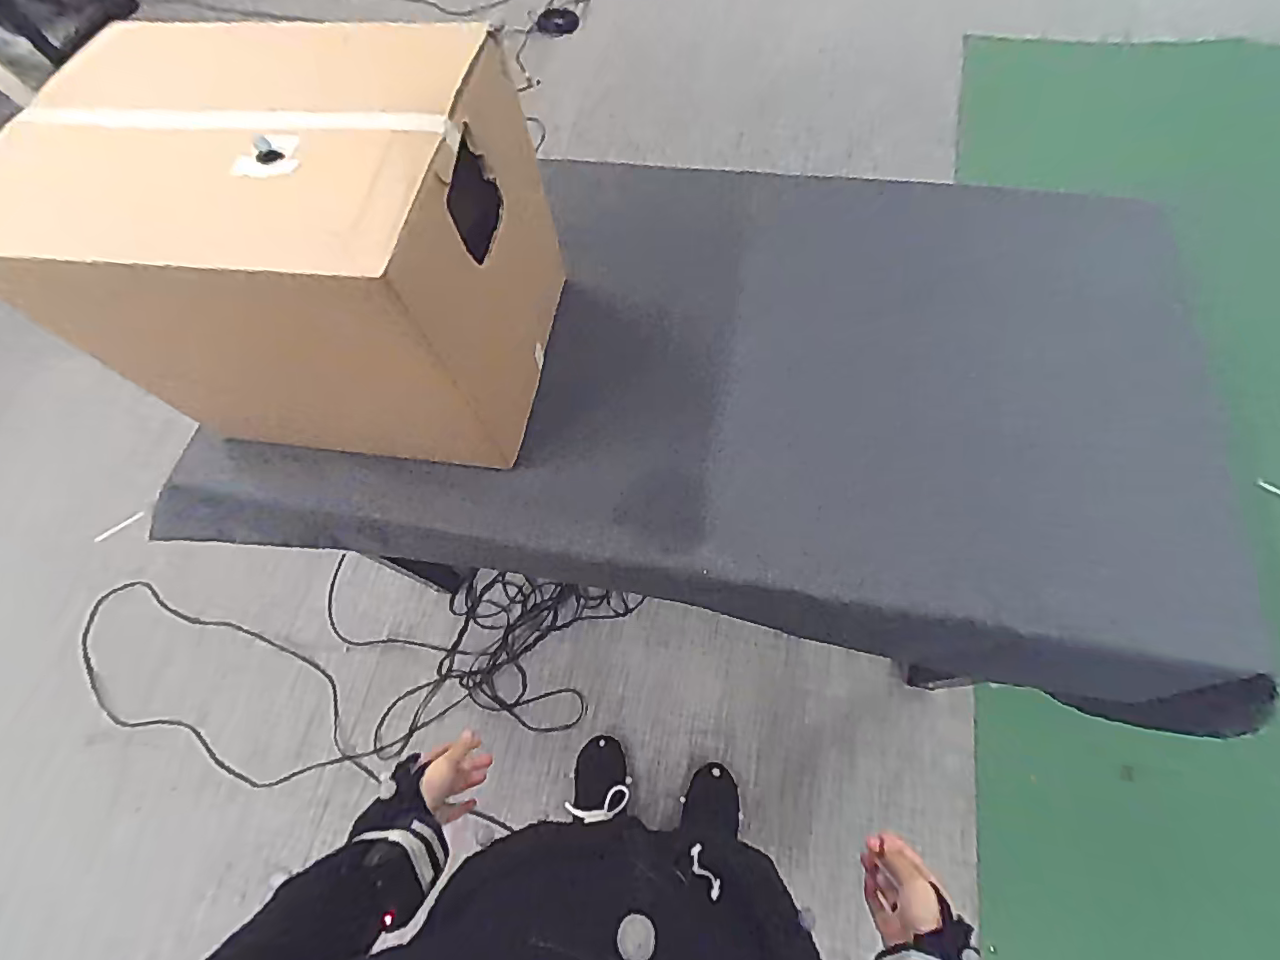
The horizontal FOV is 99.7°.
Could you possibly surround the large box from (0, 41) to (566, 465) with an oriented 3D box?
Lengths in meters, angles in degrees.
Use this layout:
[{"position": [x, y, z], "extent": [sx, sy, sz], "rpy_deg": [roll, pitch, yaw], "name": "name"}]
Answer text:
[{"position": [-0.328, -0.232, 0.605], "extent": [0.408, 0.320, 0.320], "rpy_deg": [6, 66, 6], "name": "large box"}]
